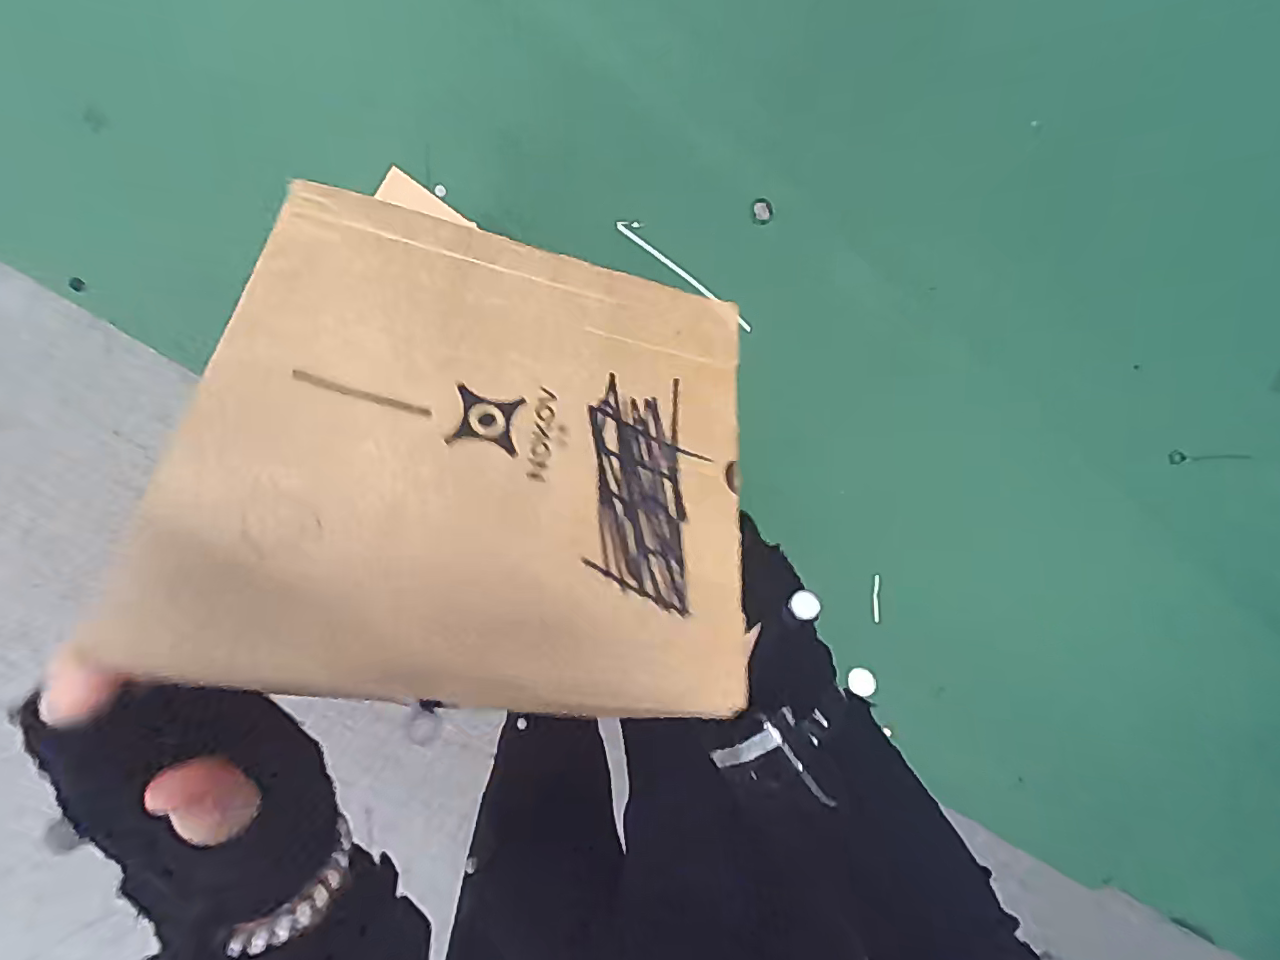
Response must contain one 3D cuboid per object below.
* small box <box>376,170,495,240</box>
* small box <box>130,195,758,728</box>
[{"bbox_3d":[-0.272,-0.278,0.749,0.179,0.176,0.168,35,99,-12],"label":"small box"},{"bbox_3d":[-0.065,0.017,0.253,0.179,0.176,0.168,10,67,-18],"label":"small box"}]
